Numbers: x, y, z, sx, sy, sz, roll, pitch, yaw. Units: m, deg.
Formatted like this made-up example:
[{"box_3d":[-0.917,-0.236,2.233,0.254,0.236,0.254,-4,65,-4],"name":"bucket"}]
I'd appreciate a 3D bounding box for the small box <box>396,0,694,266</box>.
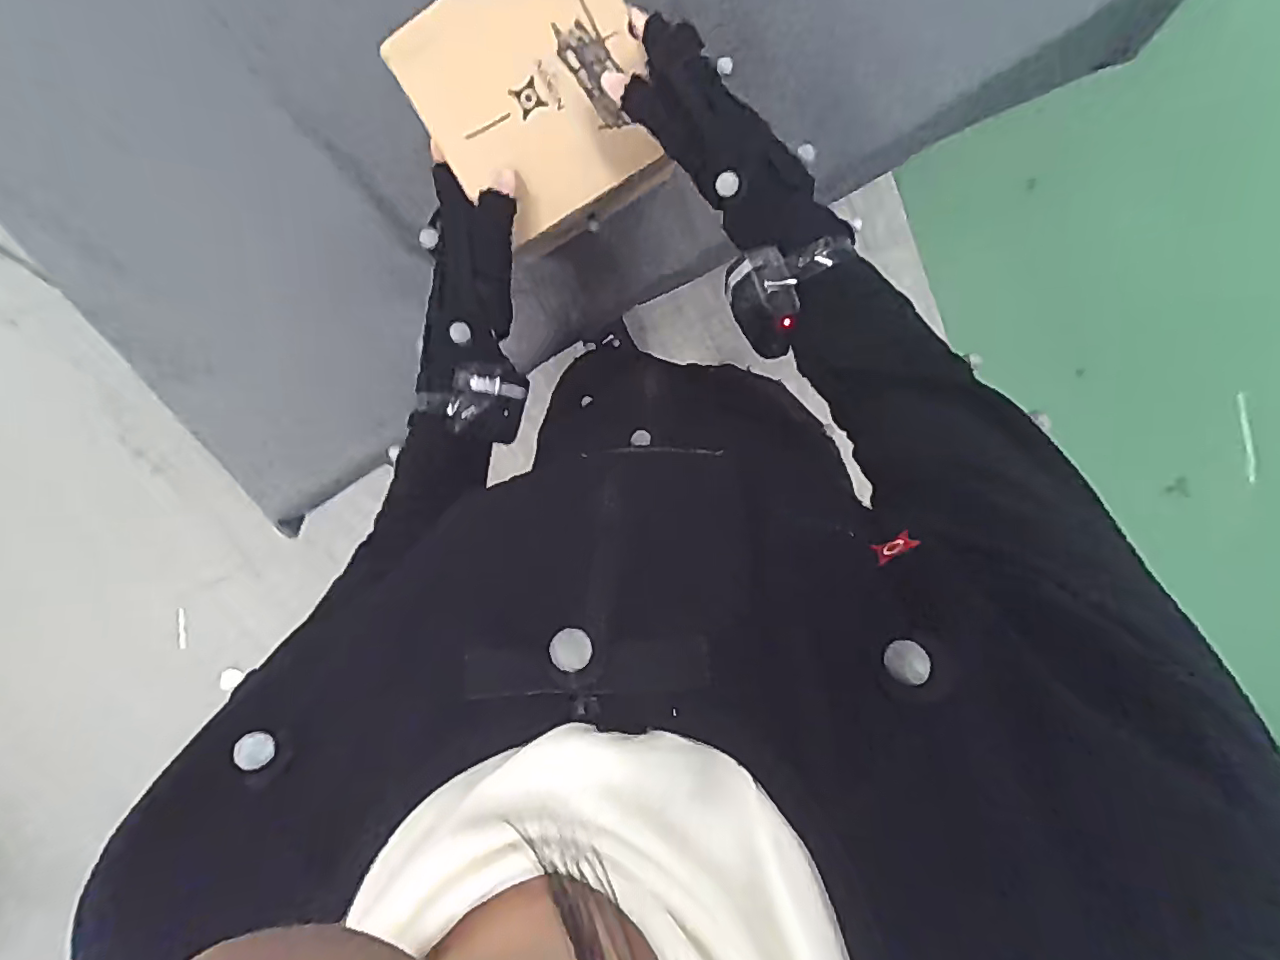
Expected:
[{"box_3d":[-0.076,-0.316,0.492,0.179,0.176,0.168,-31,109,7],"name":"small box"}]
